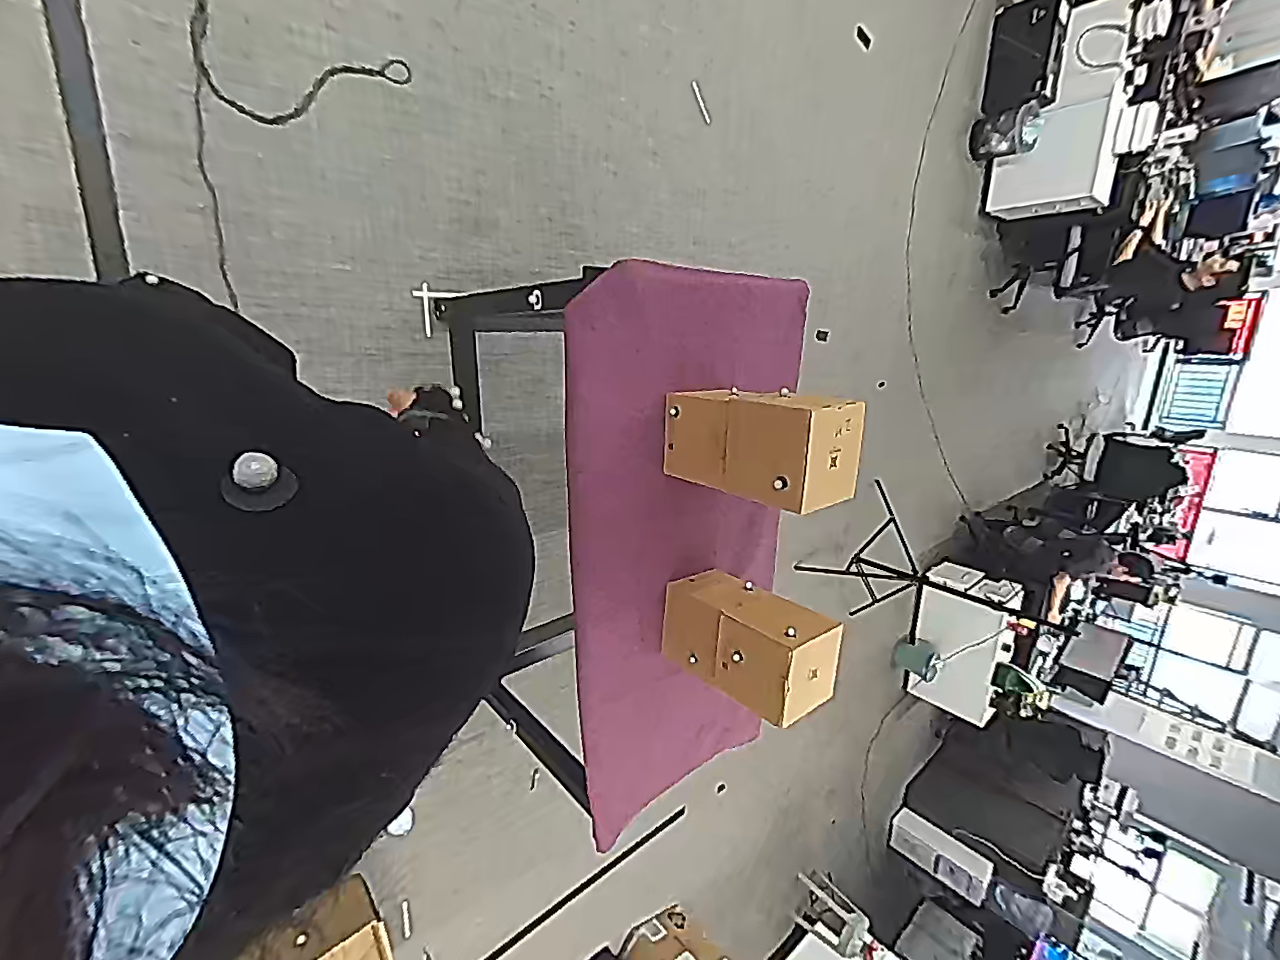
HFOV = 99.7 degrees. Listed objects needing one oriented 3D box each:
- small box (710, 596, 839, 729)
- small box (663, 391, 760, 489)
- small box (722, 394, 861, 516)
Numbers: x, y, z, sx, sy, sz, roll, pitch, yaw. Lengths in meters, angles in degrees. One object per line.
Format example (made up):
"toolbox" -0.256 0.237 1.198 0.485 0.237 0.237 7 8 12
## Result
"small box" 0.266 0.349 1.079 0.179 0.176 0.168 -8 107 -40
"small box" 0.162 -0.087 1.087 0.179 0.176 0.168 -11 110 -40
"small box" 0.263 -0.054 0.960 0.168 0.176 0.179 -12 110 -39
